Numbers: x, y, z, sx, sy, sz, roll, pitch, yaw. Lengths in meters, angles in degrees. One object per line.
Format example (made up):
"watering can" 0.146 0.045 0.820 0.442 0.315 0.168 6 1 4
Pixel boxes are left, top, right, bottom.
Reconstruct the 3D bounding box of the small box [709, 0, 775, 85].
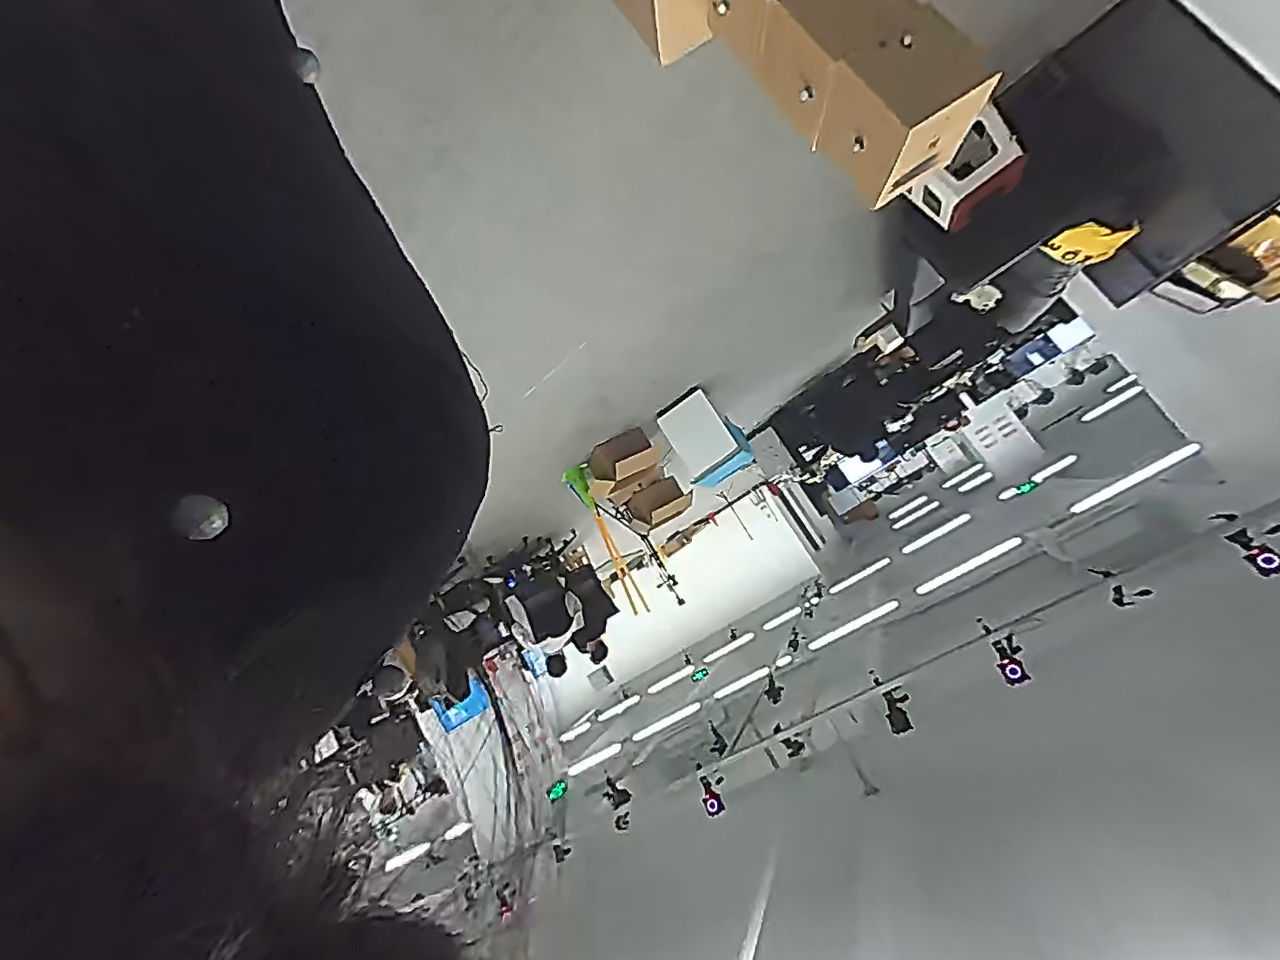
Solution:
"small box" 0.240 -0.860 0.943 0.179 0.176 0.168 -33 168 0

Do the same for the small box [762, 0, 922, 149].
"small box" 0.327 -0.725 0.918 0.168 0.176 0.179 -33 168 -1
